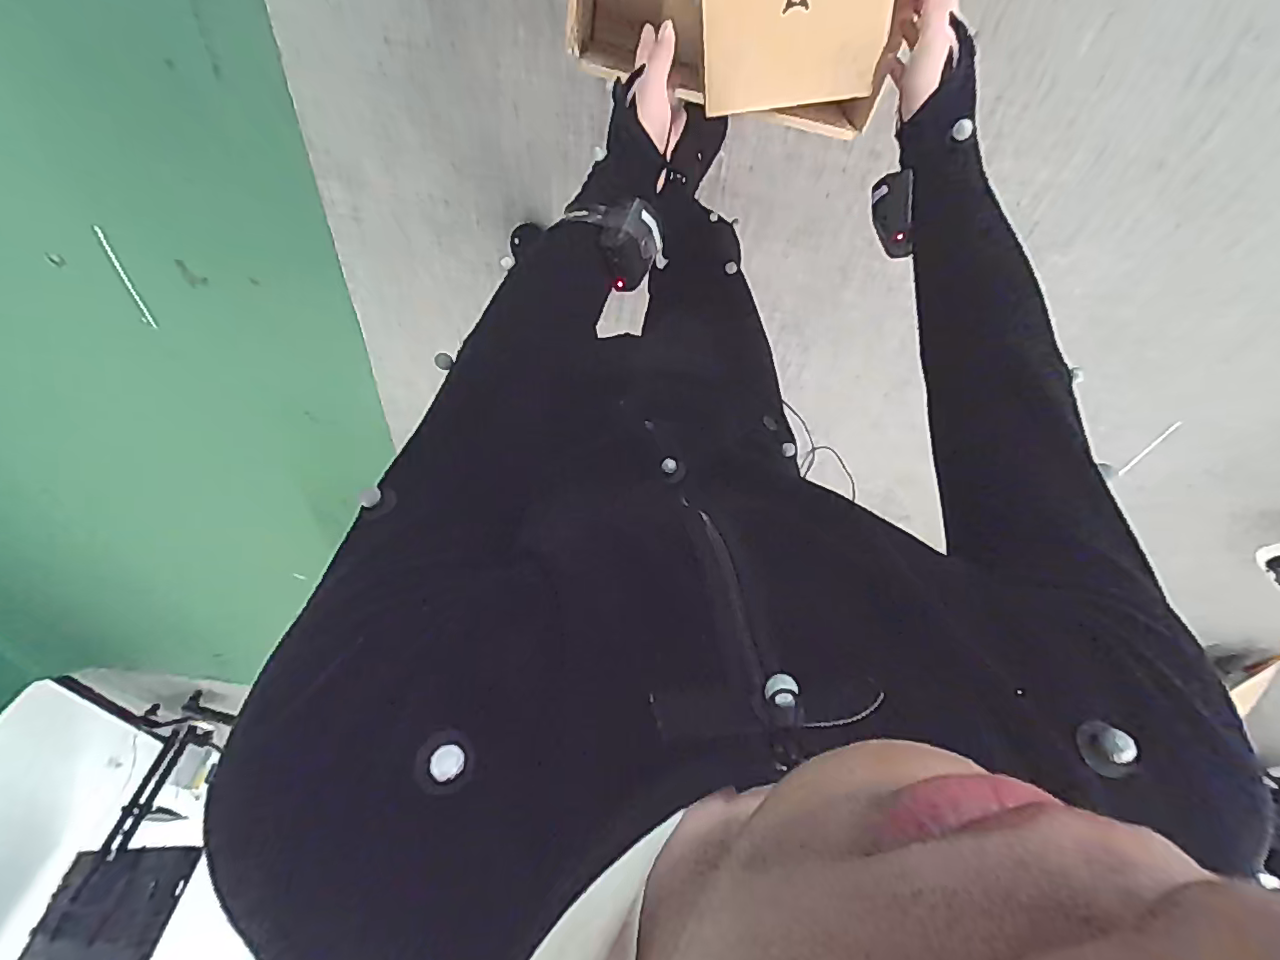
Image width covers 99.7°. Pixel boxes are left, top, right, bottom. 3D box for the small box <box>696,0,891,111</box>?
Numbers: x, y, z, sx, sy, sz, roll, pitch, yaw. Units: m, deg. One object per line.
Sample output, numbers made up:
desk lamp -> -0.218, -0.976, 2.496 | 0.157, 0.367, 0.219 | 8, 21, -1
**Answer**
small box -> 0.136, -0.478, 0.504 | 0.168, 0.176, 0.179 | -2, 137, 9
